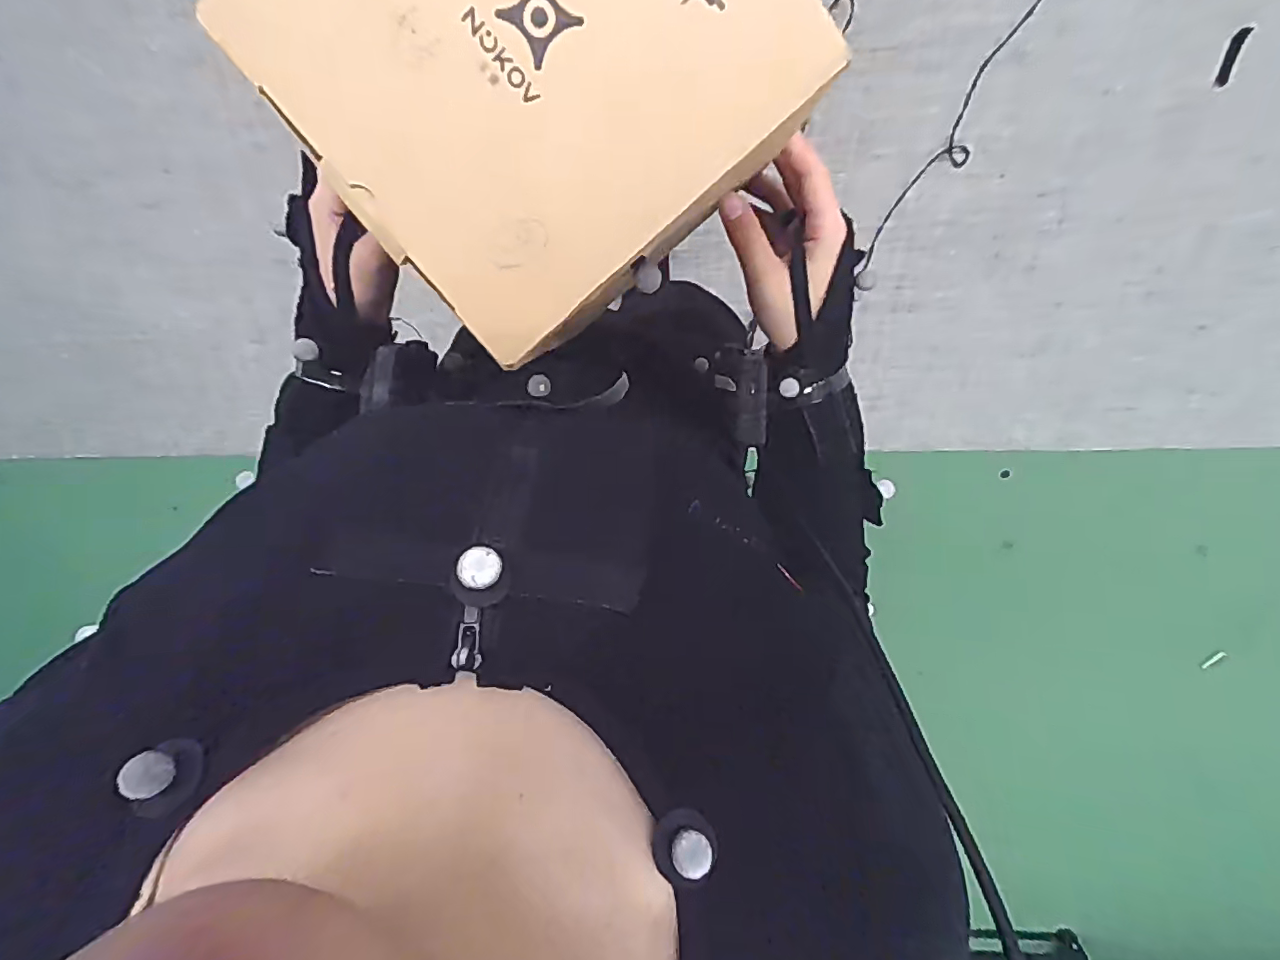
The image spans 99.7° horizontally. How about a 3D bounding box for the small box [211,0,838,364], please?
[{"bbox_3d":[-0.039,-0.182,0.272,0.179,0.176,0.168,-37,103,13],"label":"small box"}]
